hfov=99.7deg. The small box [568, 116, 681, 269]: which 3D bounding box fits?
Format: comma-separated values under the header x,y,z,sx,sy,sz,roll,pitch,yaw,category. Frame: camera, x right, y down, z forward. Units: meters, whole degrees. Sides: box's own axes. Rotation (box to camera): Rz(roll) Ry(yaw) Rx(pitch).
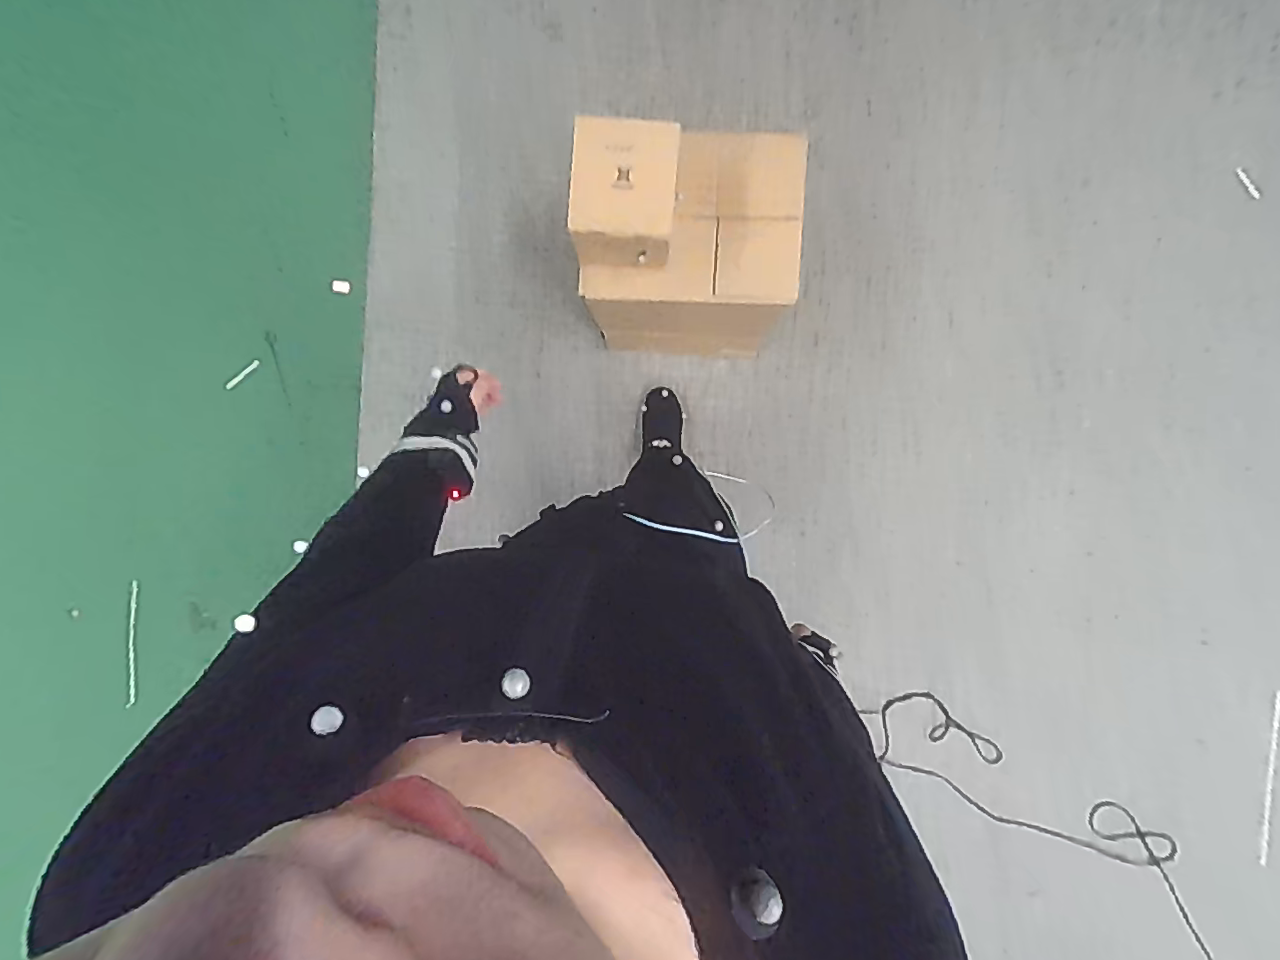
x,y,z,sx,sy,sz,roll,pitch,yaw,category
-0.023,-0.473,0.917,0.168,0.176,0.179,5,94,0,small box
